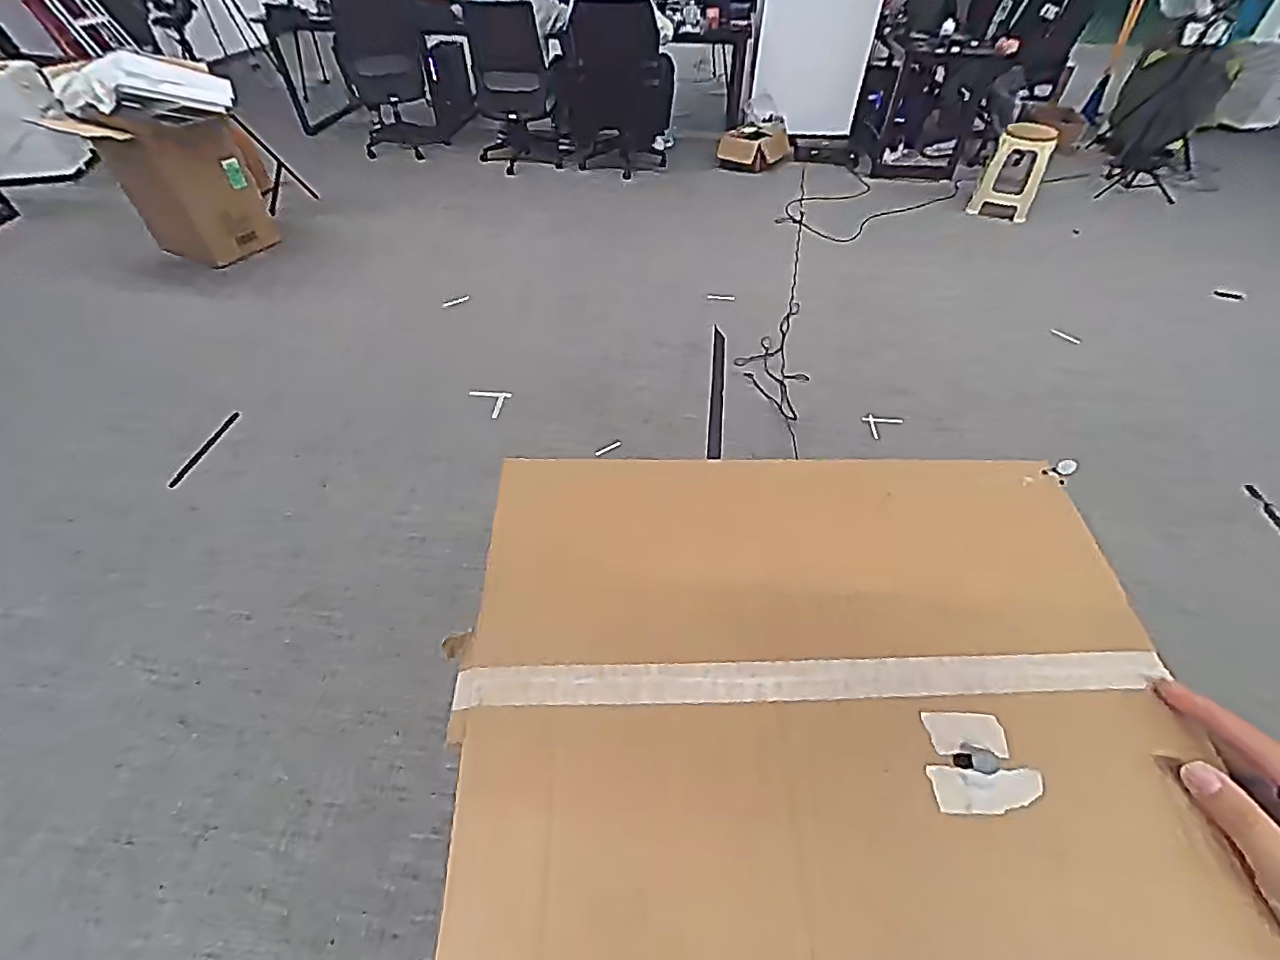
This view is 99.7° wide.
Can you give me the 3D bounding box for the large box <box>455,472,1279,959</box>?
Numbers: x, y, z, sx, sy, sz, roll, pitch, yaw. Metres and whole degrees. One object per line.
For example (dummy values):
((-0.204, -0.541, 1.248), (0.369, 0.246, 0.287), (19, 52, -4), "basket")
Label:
((0.098, 0.207, 0.443), (0.408, 0.320, 0.320), (0, 57, -4), "large box")
